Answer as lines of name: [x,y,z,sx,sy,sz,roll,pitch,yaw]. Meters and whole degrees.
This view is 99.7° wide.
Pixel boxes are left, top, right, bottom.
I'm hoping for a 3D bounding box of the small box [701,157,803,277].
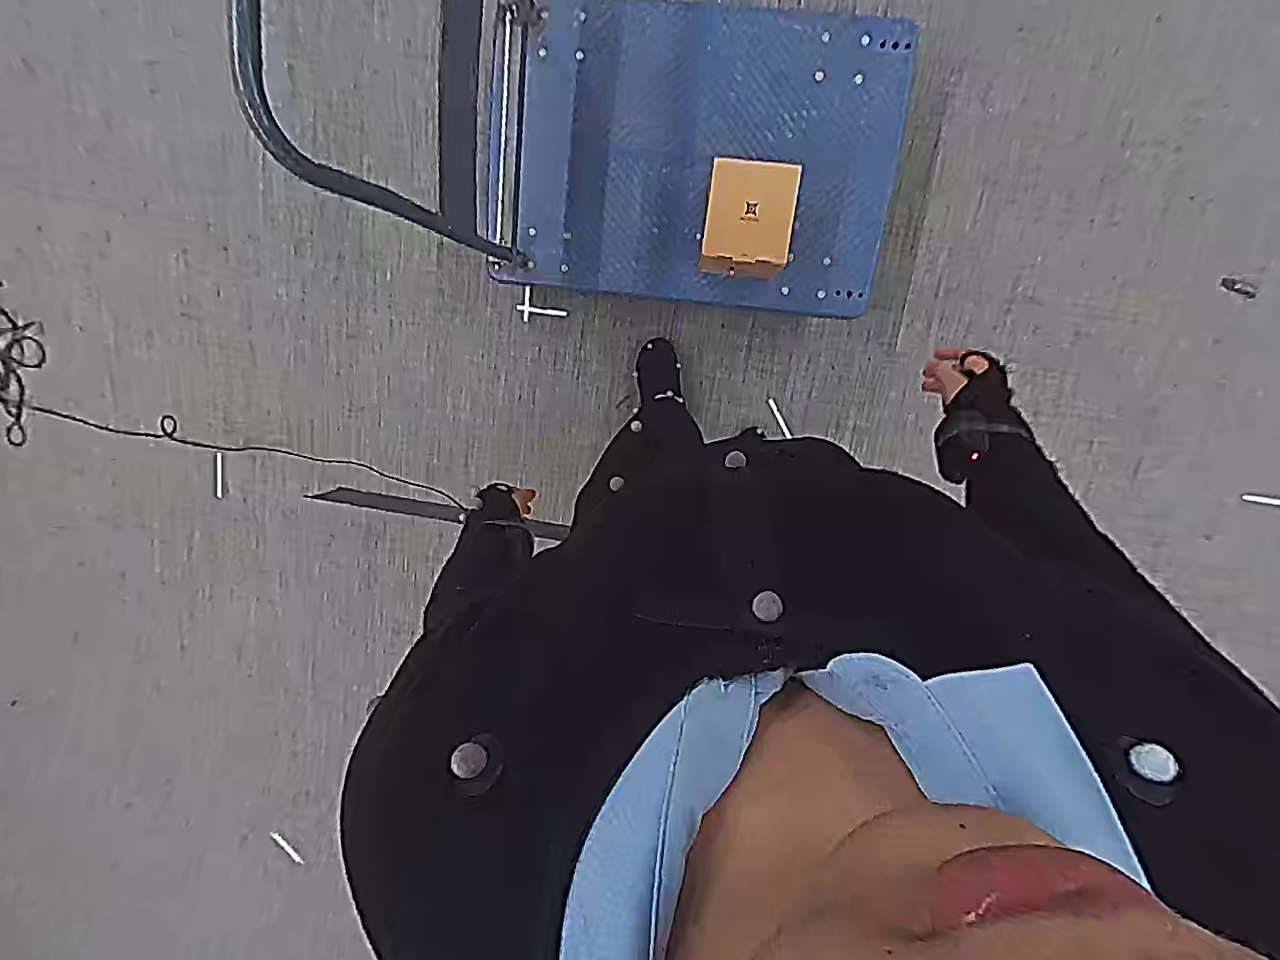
small box: [0.217,-0.524,1.097,0.168,0.176,0.179,7,103,3]
